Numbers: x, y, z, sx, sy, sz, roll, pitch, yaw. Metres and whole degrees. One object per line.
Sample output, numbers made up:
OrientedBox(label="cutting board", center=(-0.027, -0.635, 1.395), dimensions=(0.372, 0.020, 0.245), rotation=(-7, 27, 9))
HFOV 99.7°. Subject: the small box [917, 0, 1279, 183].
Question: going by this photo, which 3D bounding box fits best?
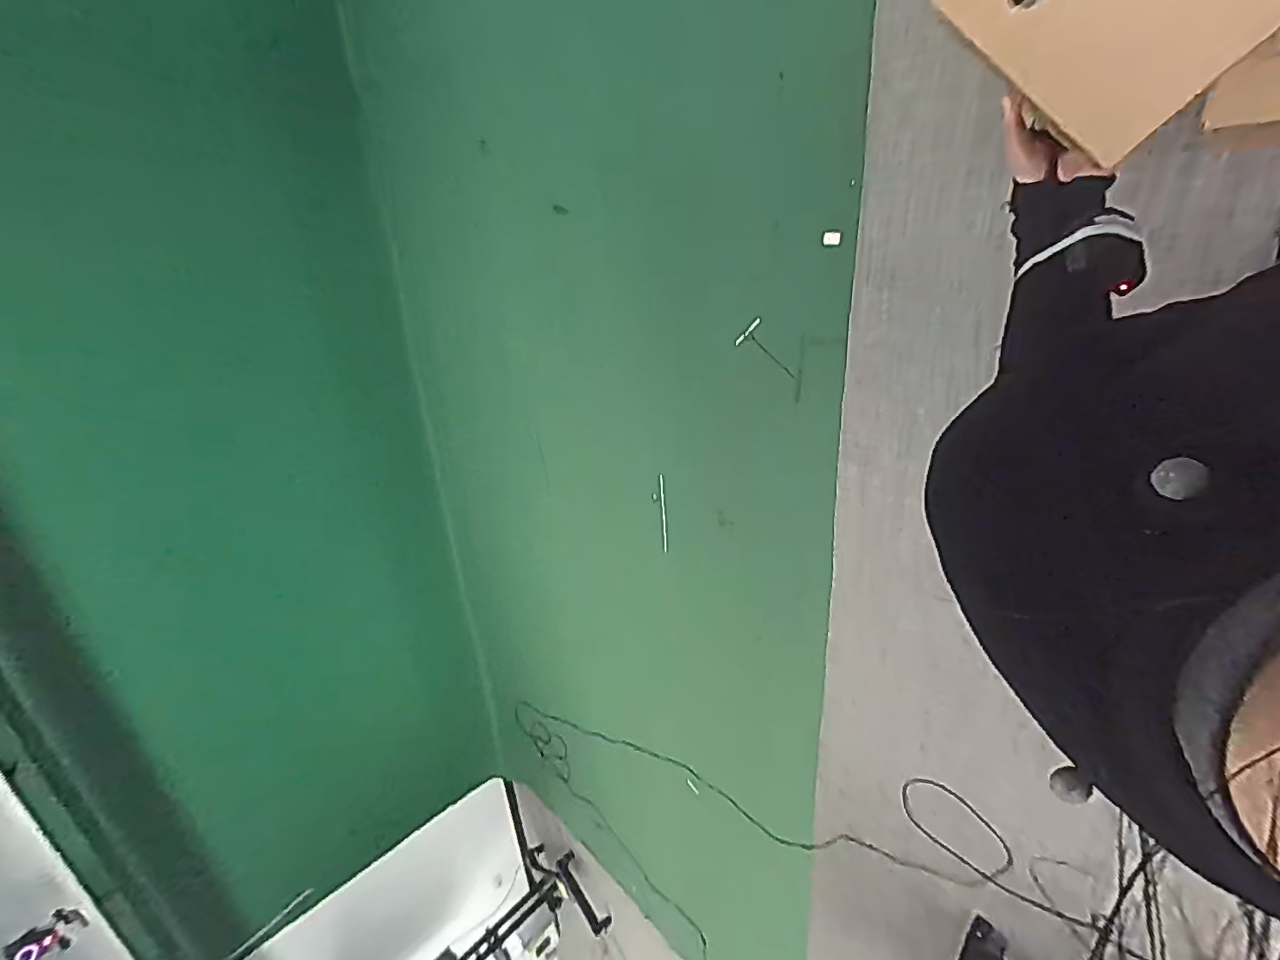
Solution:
OrientedBox(label="small box", center=(0.333, -0.355, 0.380), dimensions=(0.179, 0.168, 0.176), rotation=(40, 137, -2))
